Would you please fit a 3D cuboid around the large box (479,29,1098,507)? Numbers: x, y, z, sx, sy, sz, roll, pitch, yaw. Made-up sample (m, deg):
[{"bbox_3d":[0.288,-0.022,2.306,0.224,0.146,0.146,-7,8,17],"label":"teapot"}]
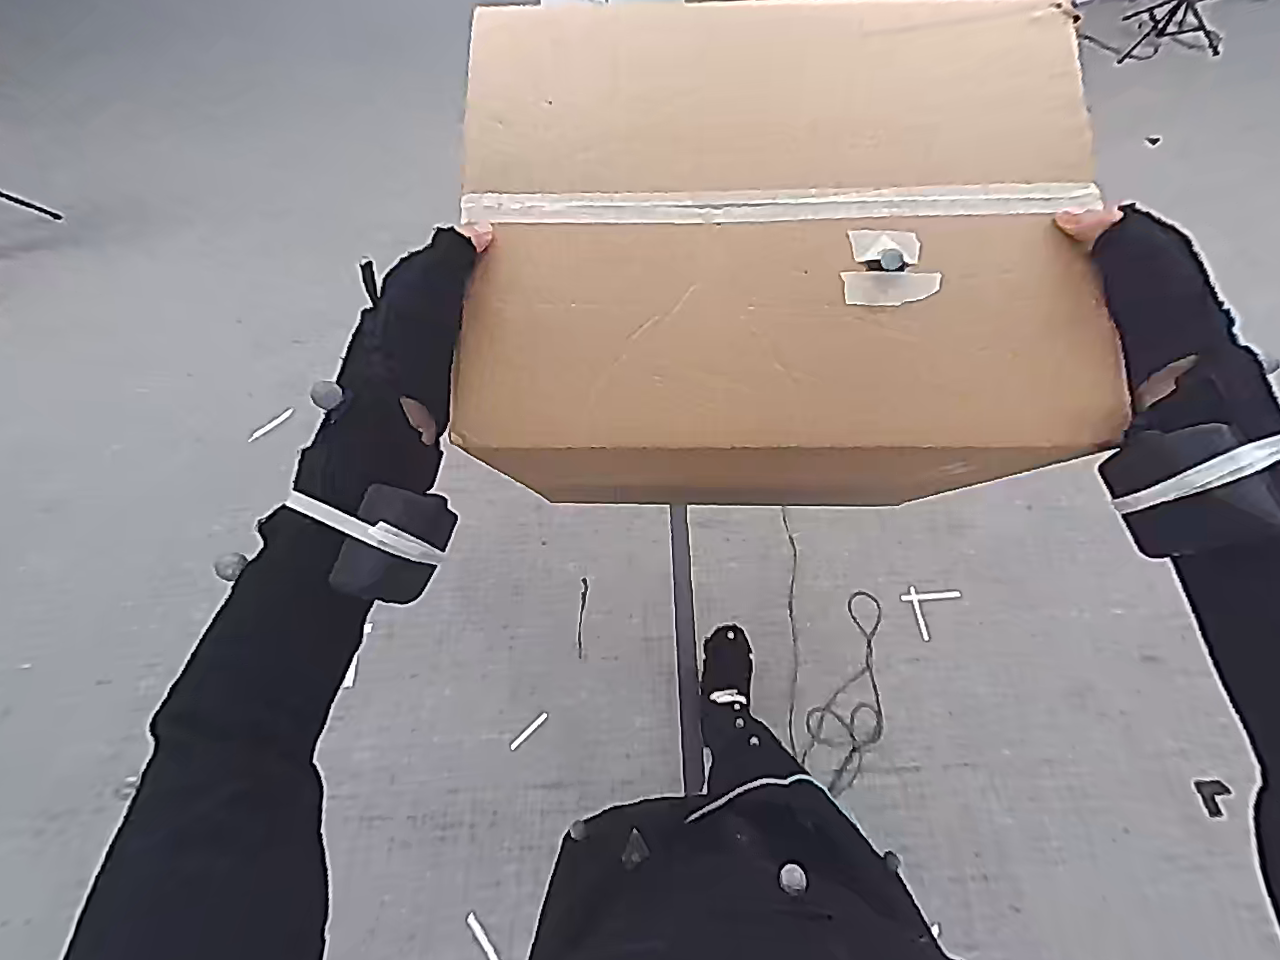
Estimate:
[{"bbox_3d":[0.093,-0.146,0.514,0.408,0.320,0.320,0,82,2],"label":"large box"}]
